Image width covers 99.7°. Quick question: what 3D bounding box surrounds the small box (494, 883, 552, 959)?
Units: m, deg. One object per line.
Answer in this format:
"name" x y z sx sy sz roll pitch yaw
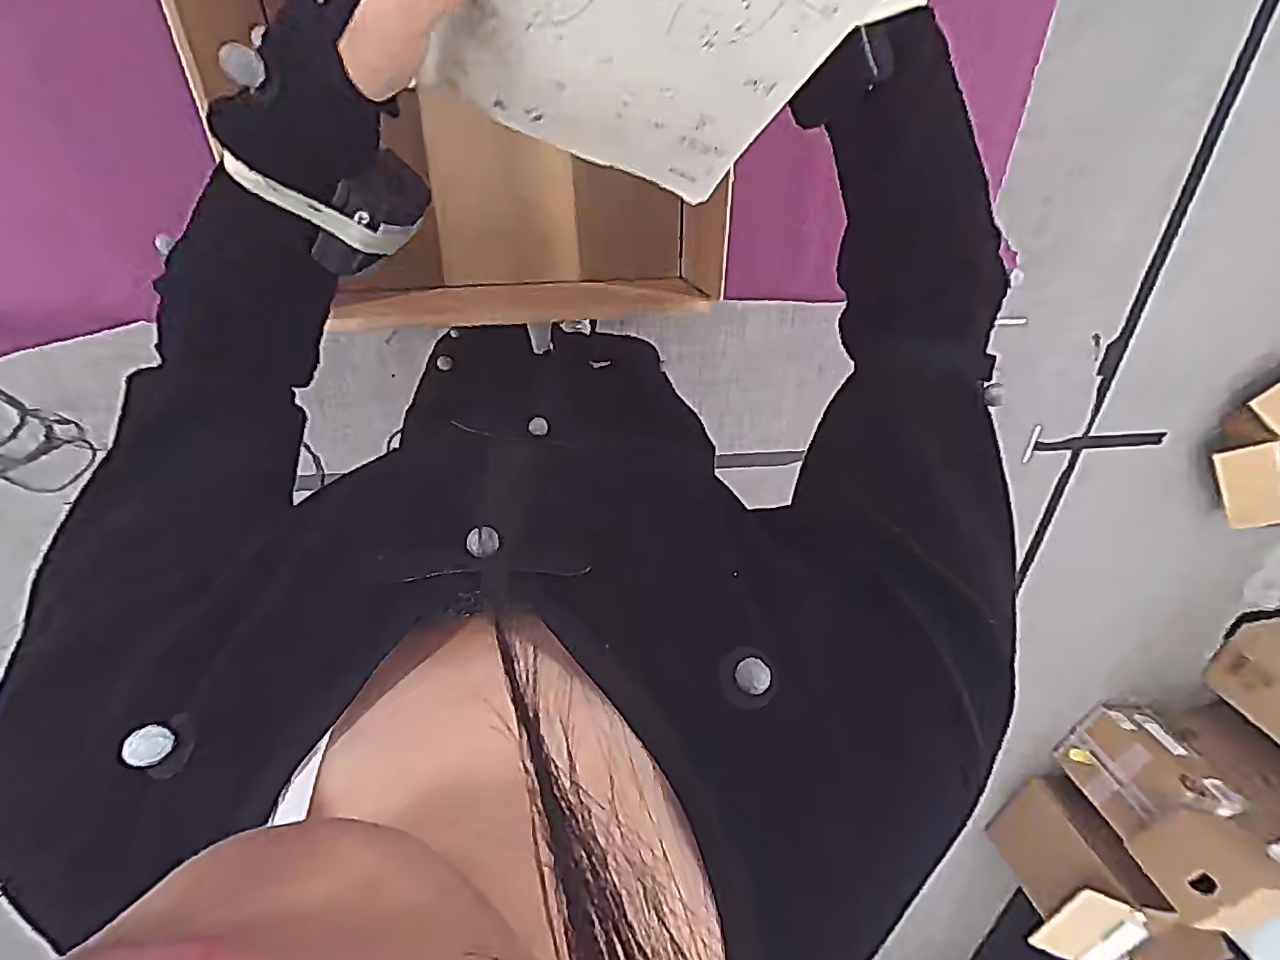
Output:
"small box" -0.381 1.471 1.783 0.179 0.176 0.168 -2 121 -11

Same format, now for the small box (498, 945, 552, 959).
"small box" -0.354 1.564 1.650 0.168 0.176 0.179 1 120 -11
